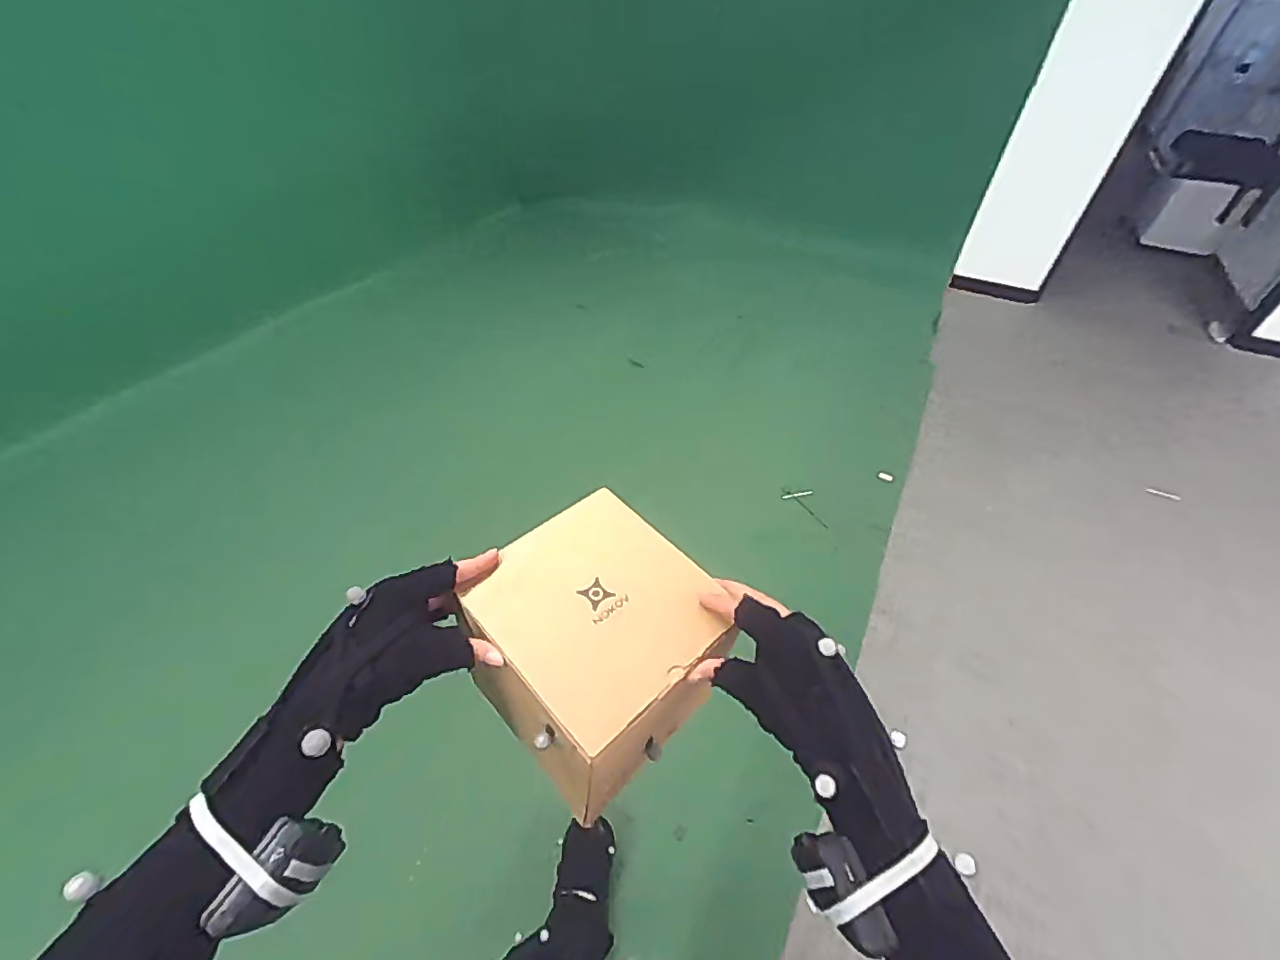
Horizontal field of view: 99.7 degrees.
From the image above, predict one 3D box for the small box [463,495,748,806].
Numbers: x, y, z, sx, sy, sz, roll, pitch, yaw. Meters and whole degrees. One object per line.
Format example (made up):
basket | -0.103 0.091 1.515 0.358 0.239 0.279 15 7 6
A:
small box | -0.037 0.152 0.492 0.168 0.176 0.179 -31 58 -33
